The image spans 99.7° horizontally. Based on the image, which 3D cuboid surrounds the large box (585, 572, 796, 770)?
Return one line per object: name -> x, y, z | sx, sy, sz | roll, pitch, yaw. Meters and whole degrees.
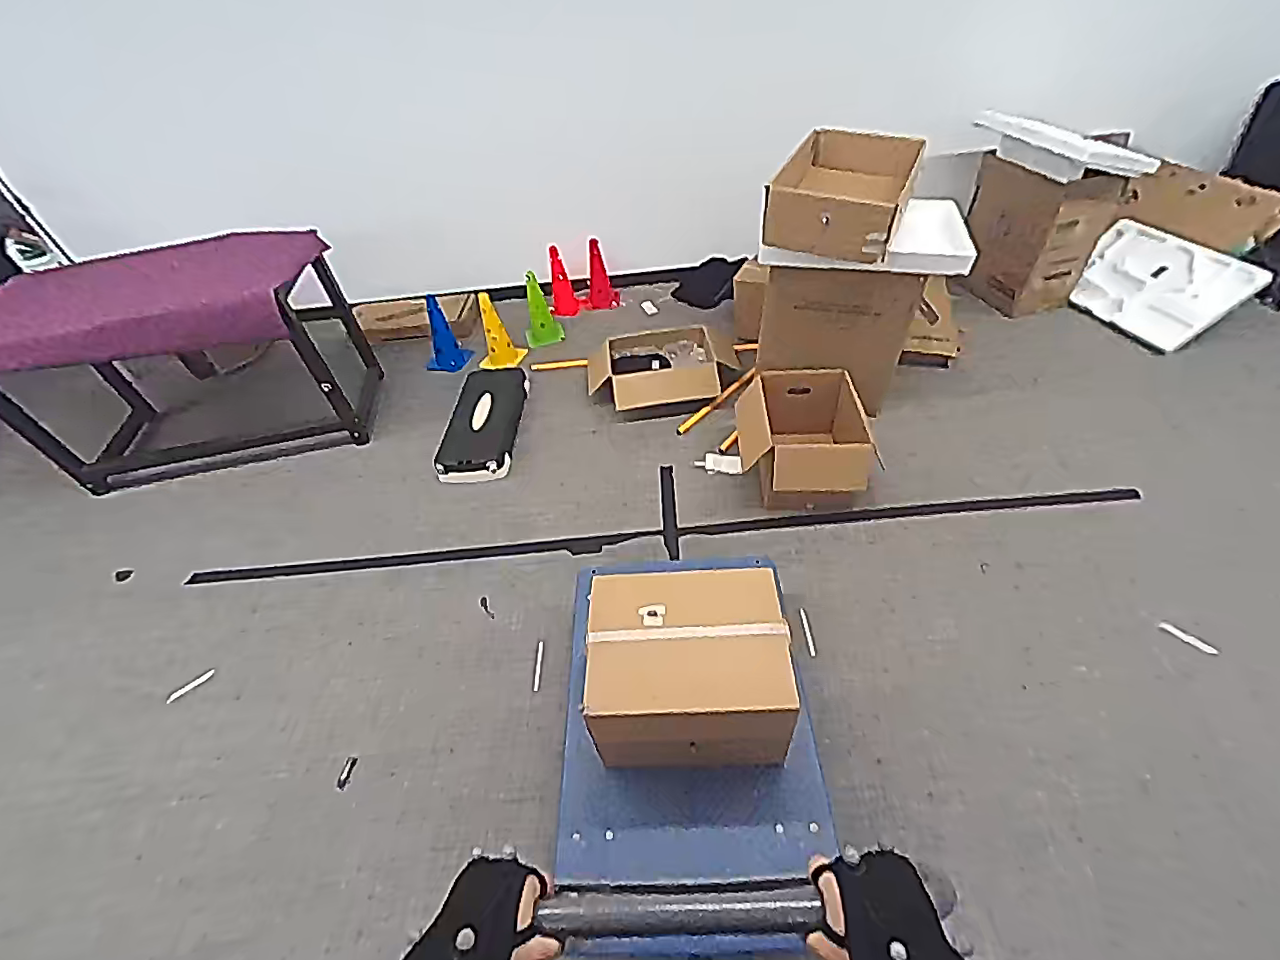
large box -> 0.107, 0.436, 1.221 | 0.408, 0.320, 0.320 | -5, 44, 4
